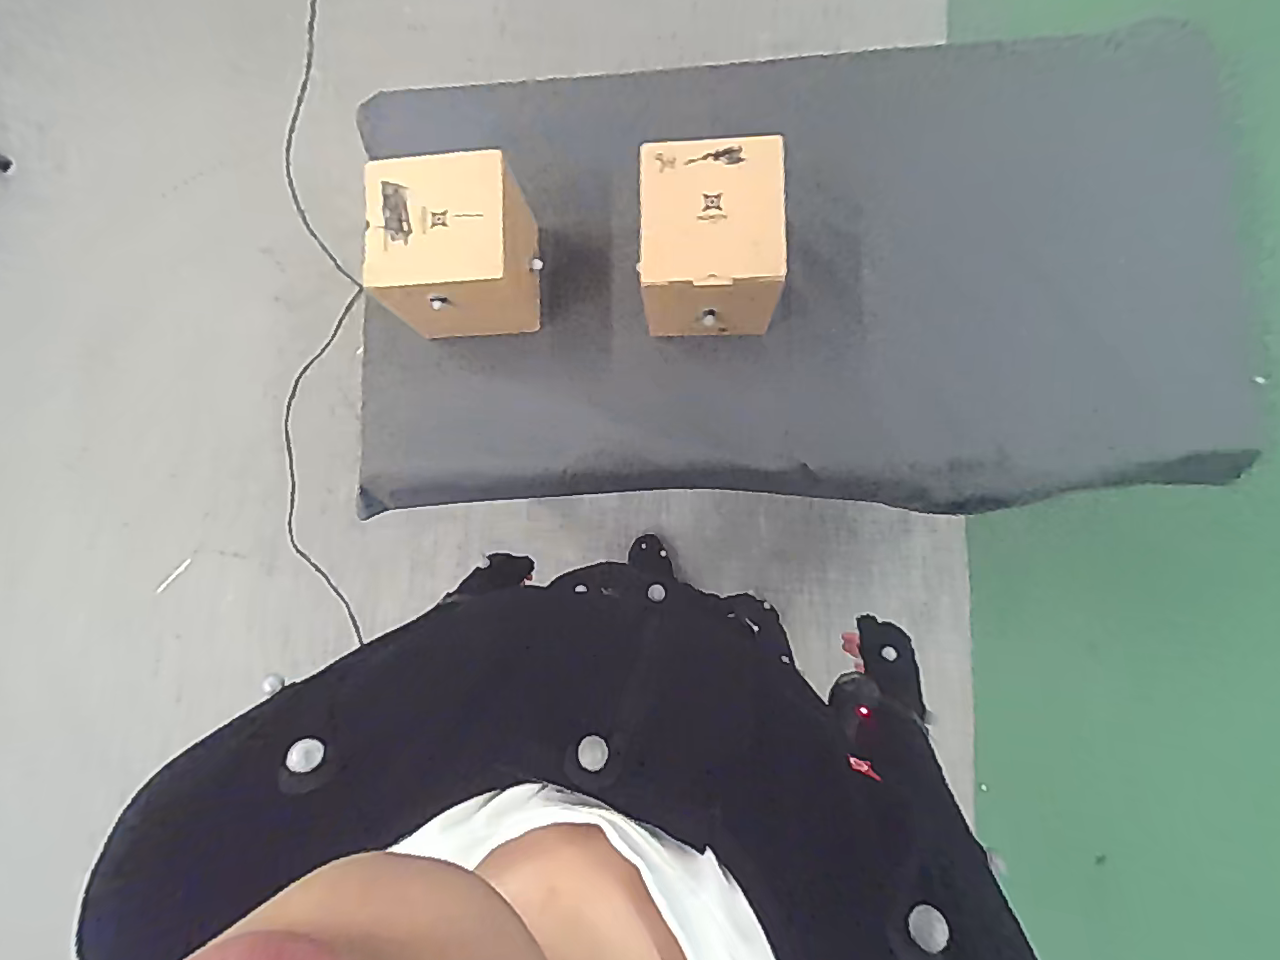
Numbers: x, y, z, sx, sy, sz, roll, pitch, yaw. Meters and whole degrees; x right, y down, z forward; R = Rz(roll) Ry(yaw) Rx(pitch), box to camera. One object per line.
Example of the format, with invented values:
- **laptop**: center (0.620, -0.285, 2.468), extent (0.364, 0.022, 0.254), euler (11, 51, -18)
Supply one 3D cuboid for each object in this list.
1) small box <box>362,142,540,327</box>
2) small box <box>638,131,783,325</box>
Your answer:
- **small box**: center (-0.241, -0.314, 0.726), extent (0.179, 0.176, 0.168), euler (-2, 85, 4)
- **small box**: center (0.088, -0.308, 0.698), extent (0.168, 0.176, 0.179), euler (0, 85, 5)
